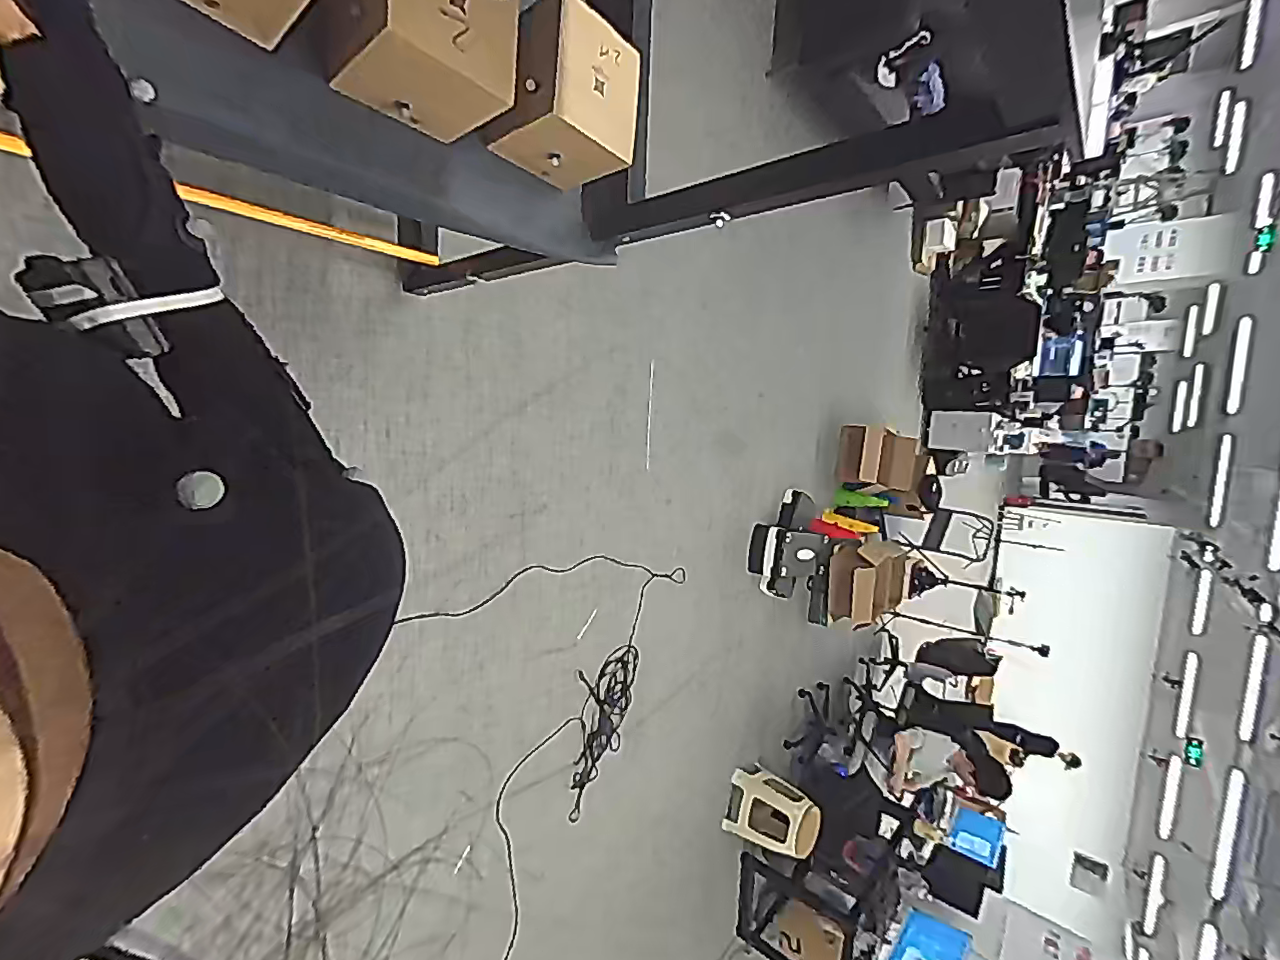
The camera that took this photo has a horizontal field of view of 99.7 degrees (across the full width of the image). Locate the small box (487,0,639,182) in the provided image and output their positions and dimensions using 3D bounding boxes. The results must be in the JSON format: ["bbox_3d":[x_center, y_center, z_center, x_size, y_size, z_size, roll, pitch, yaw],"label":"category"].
[{"bbox_3d":[-0.124,-0.603,0.852,0.168,0.176,0.179,1,95,-50],"label":"small box"}]

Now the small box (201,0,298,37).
[{"bbox_3d":[-0.414,-0.588,0.519,0.168,0.176,0.179,6,91,-50],"label":"small box"}]
